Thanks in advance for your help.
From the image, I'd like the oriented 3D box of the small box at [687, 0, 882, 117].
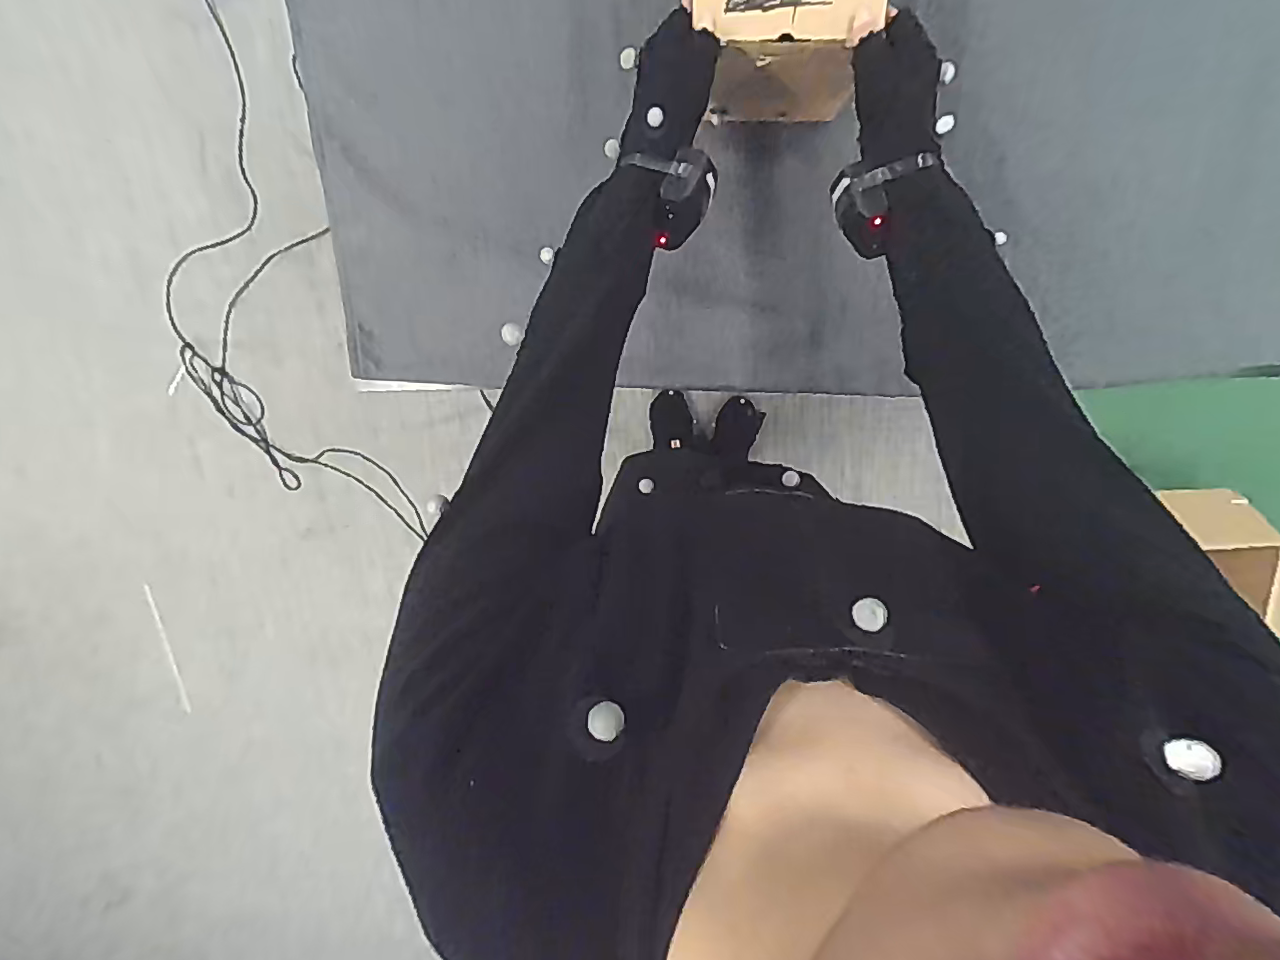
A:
[{"bbox_3d":[0.133,-0.480,0.526,0.168,0.176,0.179,3,104,4],"label":"small box"}]
